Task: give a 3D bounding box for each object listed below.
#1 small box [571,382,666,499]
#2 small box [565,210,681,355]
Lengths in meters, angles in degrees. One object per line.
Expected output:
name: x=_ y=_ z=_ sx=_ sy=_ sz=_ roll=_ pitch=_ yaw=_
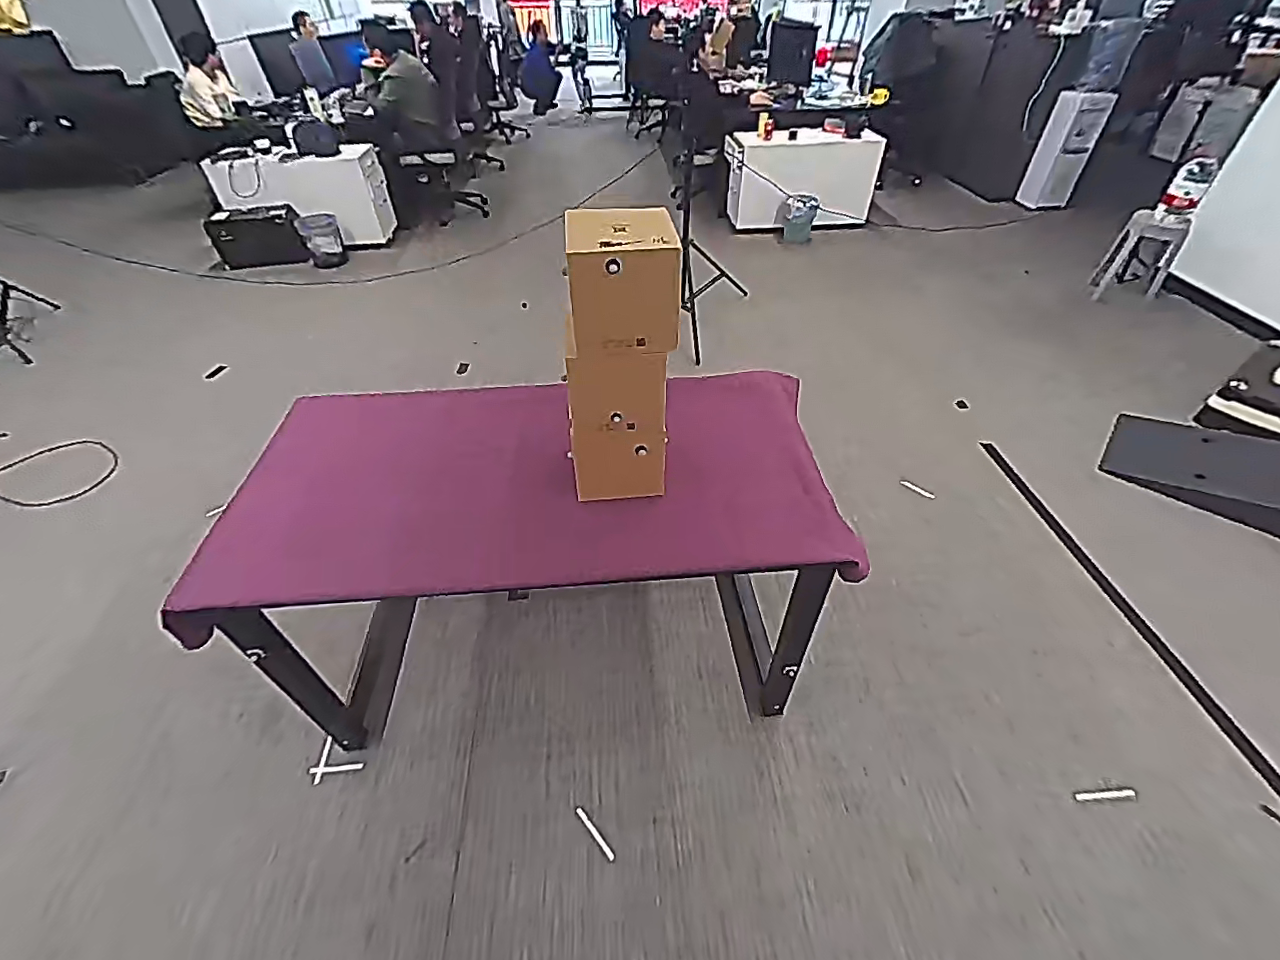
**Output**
small box: x=-0.044 y=-0.078 z=1.093 sx=0.179 sy=0.176 sz=0.168 roll=-5 pitch=43 yaw=-3
small box: x=-0.030 y=-0.318 z=0.869 sx=0.168 sy=0.176 sz=0.179 roll=-5 pitch=43 yaw=-4
